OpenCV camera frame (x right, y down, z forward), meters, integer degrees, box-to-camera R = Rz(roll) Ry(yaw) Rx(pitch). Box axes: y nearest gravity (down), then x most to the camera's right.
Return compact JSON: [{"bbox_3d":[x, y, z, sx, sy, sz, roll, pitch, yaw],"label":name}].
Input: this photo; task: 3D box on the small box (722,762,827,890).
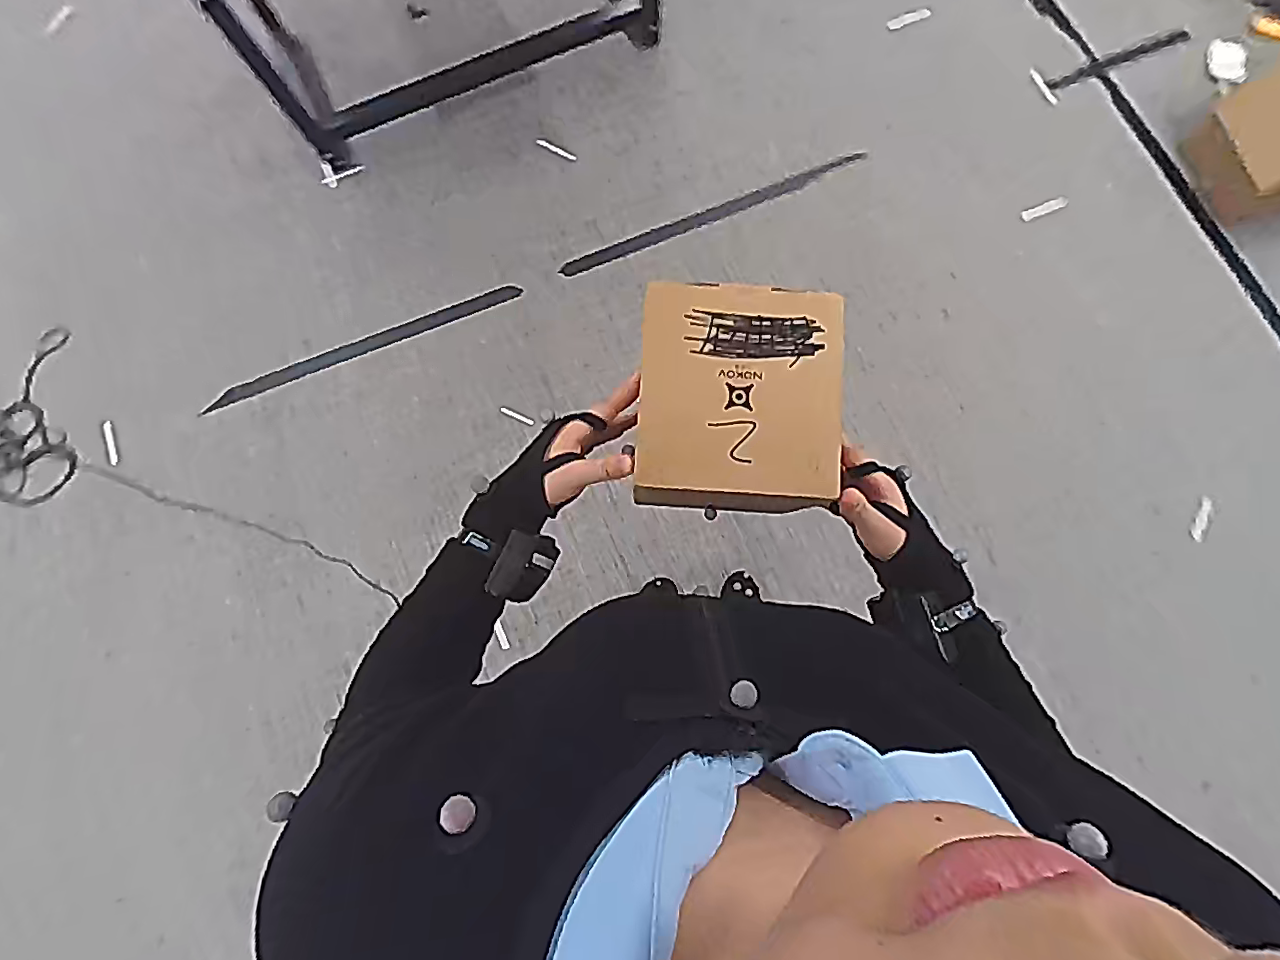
[{"bbox_3d":[0.317,0.825,1.310,0.168,0.176,0.179,-28,80,-4],"label":"small box"}]
